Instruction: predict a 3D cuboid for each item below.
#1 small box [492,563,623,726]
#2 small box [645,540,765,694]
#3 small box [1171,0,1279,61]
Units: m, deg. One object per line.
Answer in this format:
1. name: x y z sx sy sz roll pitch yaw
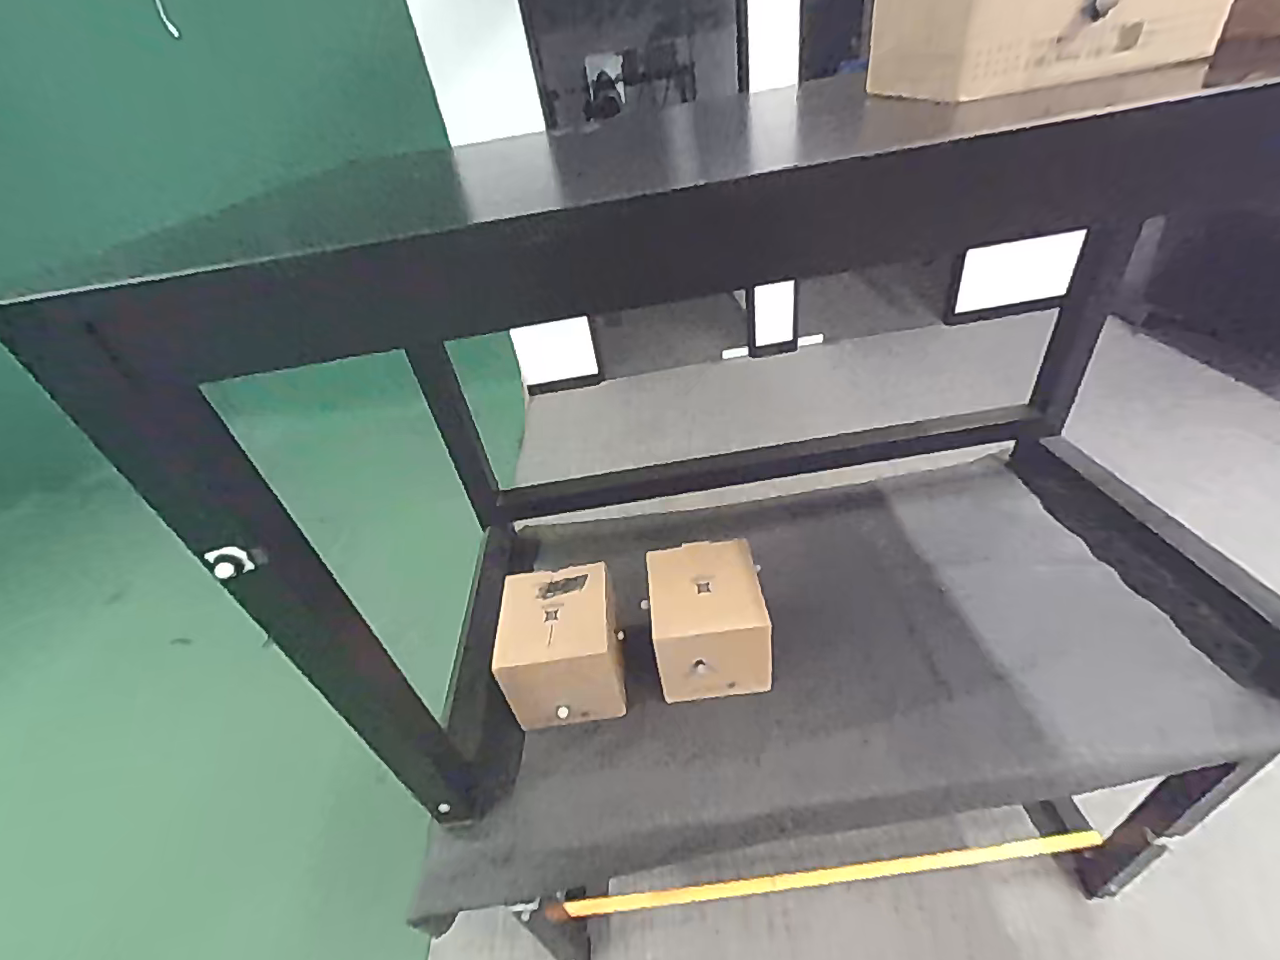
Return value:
1. small box: -0.122 0.261 0.864 0.168 0.176 0.179 -9 37 1
2. small box: 0.102 0.223 0.866 0.168 0.176 0.179 -8 36 2
3. small box: 0.526 -0.397 0.357 0.168 0.176 0.179 -2 37 11
